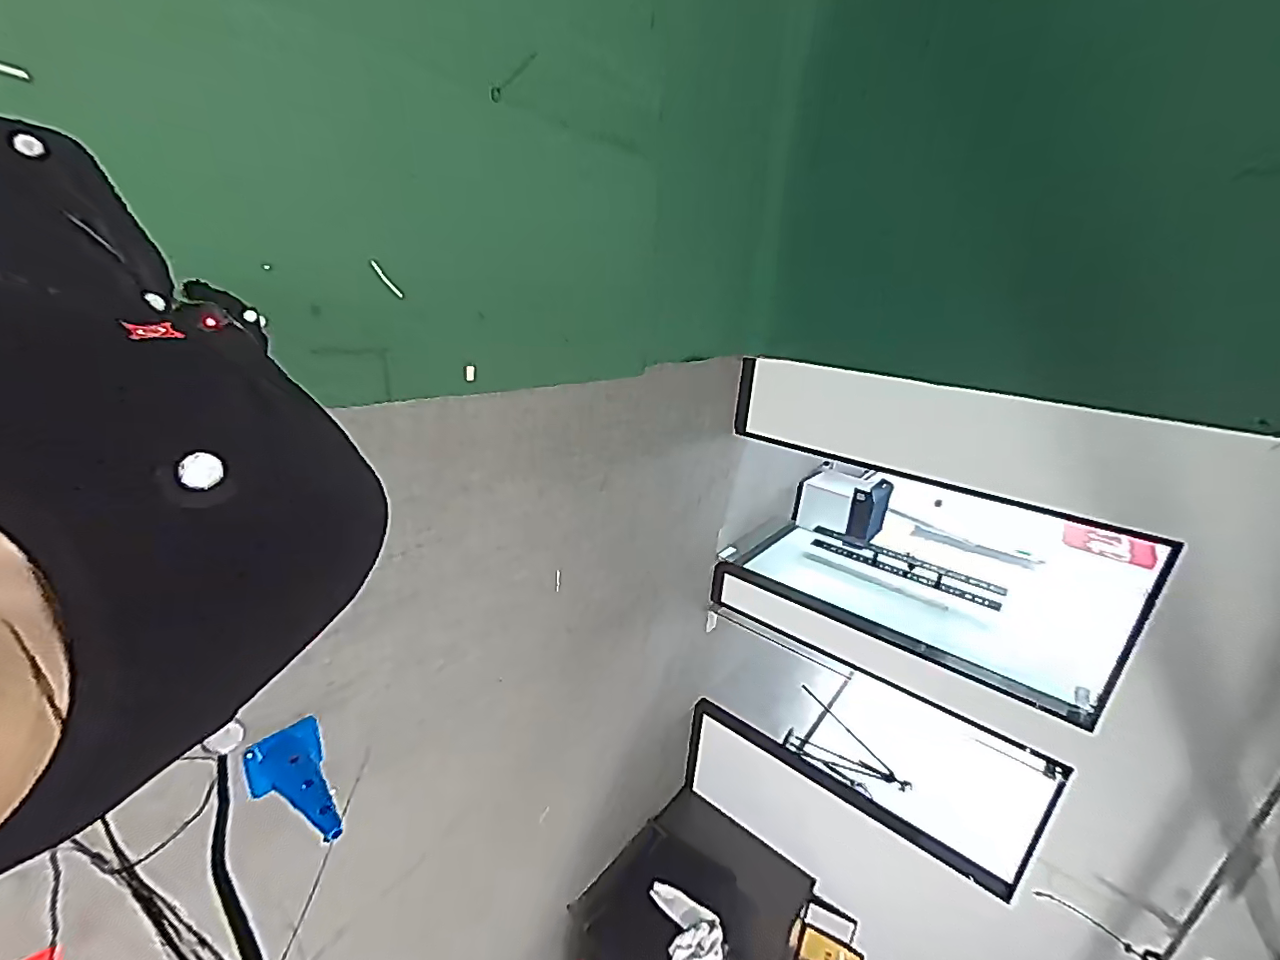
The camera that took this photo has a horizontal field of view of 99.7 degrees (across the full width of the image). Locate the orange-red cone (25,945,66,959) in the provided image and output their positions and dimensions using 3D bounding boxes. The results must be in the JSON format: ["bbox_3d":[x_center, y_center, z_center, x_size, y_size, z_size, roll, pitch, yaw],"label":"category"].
[{"bbox_3d":[-1.359,1.278,1.181,0.198,0.360,0.199,-14,116,-51],"label":"orange-red cone"}]
